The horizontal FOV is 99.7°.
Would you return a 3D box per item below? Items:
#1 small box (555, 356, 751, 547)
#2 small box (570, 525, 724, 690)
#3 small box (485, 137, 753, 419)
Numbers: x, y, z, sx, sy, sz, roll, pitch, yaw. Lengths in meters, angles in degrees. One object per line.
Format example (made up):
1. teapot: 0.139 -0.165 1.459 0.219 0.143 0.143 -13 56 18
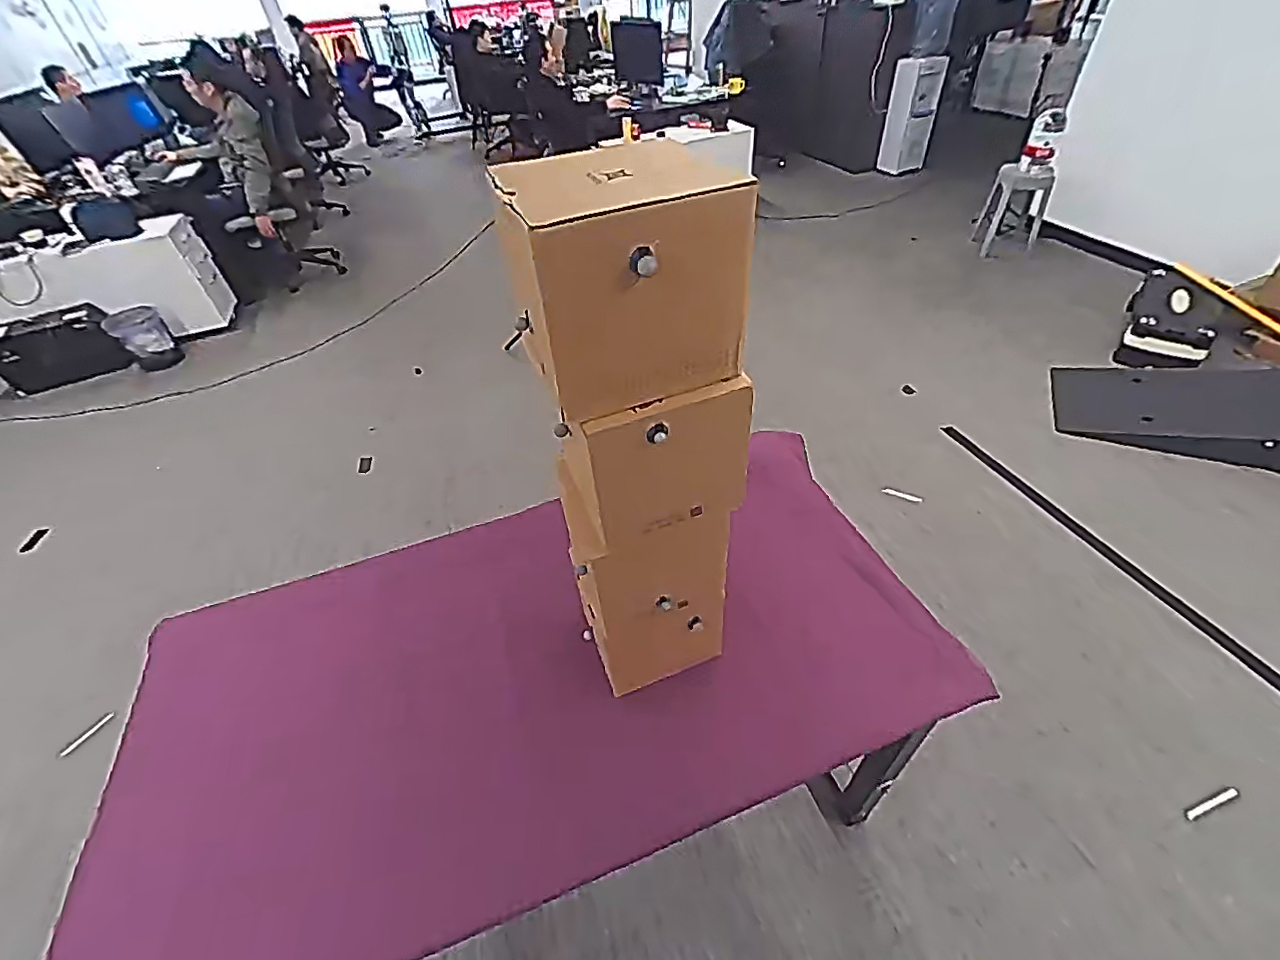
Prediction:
1. small box: 0.003 -0.059 0.591 0.168 0.176 0.179 -18 45 -12
2. small box: 0.010 0.182 0.813 0.179 0.176 0.168 -18 44 -12
3. small box: -0.020 -0.182 0.485 0.179 0.176 0.168 -19 45 -13
